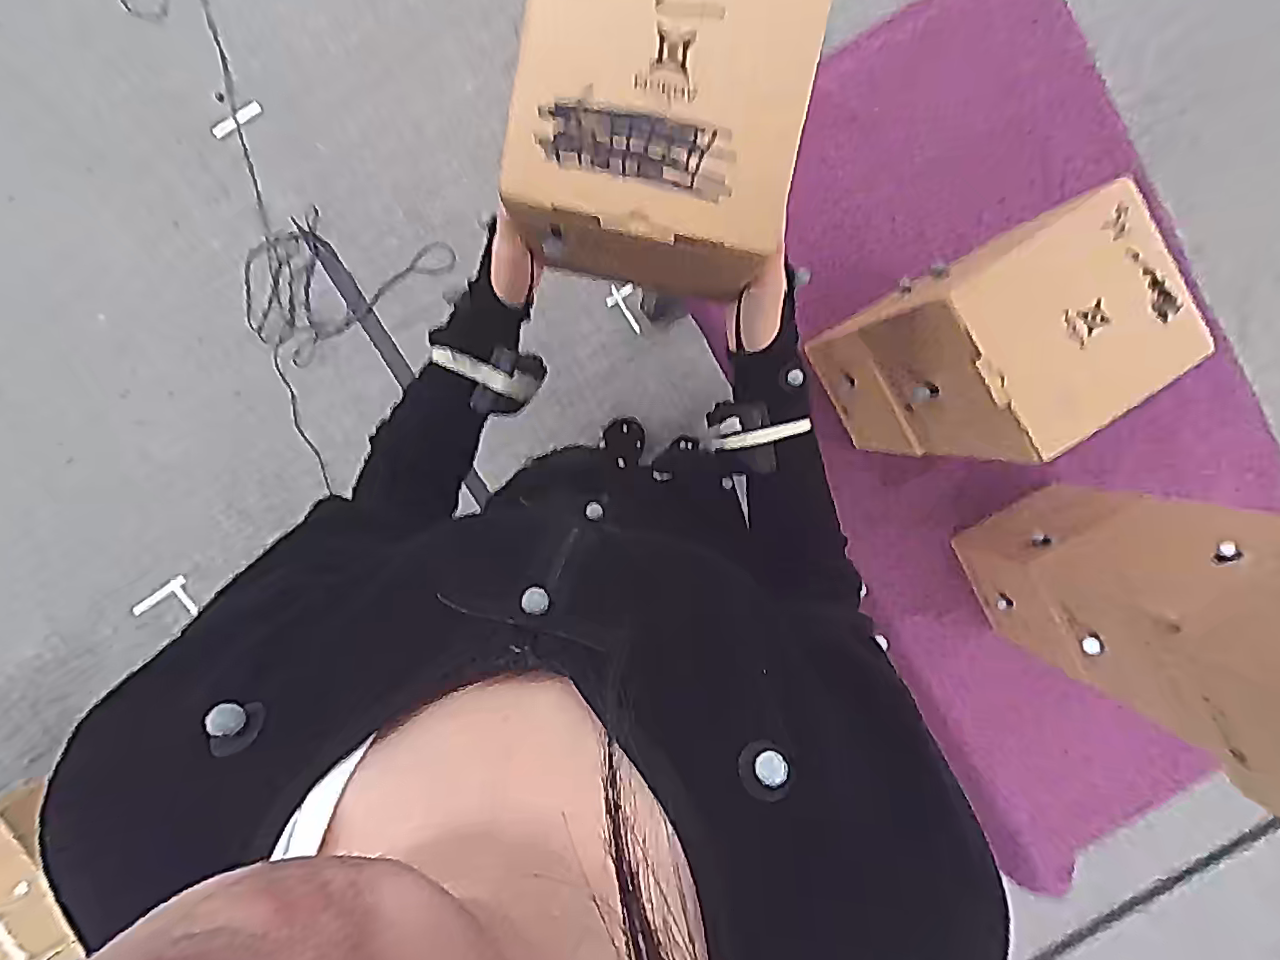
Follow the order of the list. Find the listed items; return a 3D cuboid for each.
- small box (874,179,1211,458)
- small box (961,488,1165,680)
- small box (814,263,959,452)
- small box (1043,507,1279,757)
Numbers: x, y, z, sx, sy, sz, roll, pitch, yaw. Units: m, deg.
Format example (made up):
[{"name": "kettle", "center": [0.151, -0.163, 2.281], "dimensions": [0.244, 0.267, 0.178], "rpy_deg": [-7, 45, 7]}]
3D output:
[{"name": "small box", "center": [0.357, -0.137, 0.523], "dimensions": [0.179, 0.176, 0.168], "rpy_deg": [-33, 96, 1]}, {"name": "small box", "center": [0.570, 0.126, 0.722], "dimensions": [0.179, 0.176, 0.168], "rpy_deg": [-29, 97, 0]}, {"name": "small box", "center": [0.345, -0.148, 0.686], "dimensions": [0.179, 0.176, 0.168], "rpy_deg": [-31, 96, 0]}, {"name": "small box", "center": [0.580, 0.143, 0.559], "dimensions": [0.179, 0.176, 0.168], "rpy_deg": [-29, 96, 1]}]
